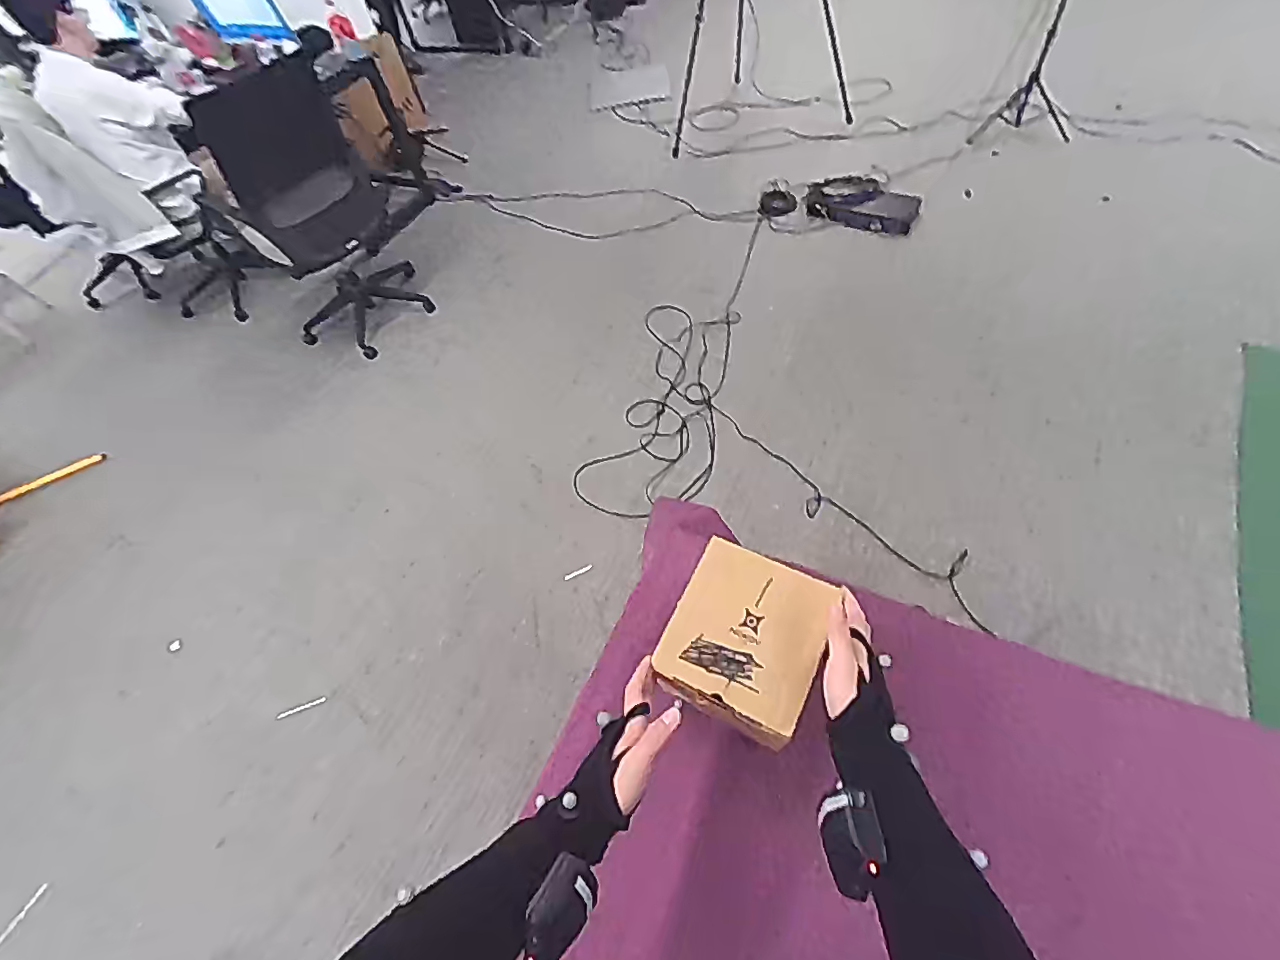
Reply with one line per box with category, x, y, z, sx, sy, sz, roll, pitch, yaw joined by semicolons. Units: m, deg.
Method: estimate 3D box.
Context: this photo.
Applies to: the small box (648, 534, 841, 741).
small box;0.130;0.203;0.677;0.168;0.176;0.179;23;65;19
